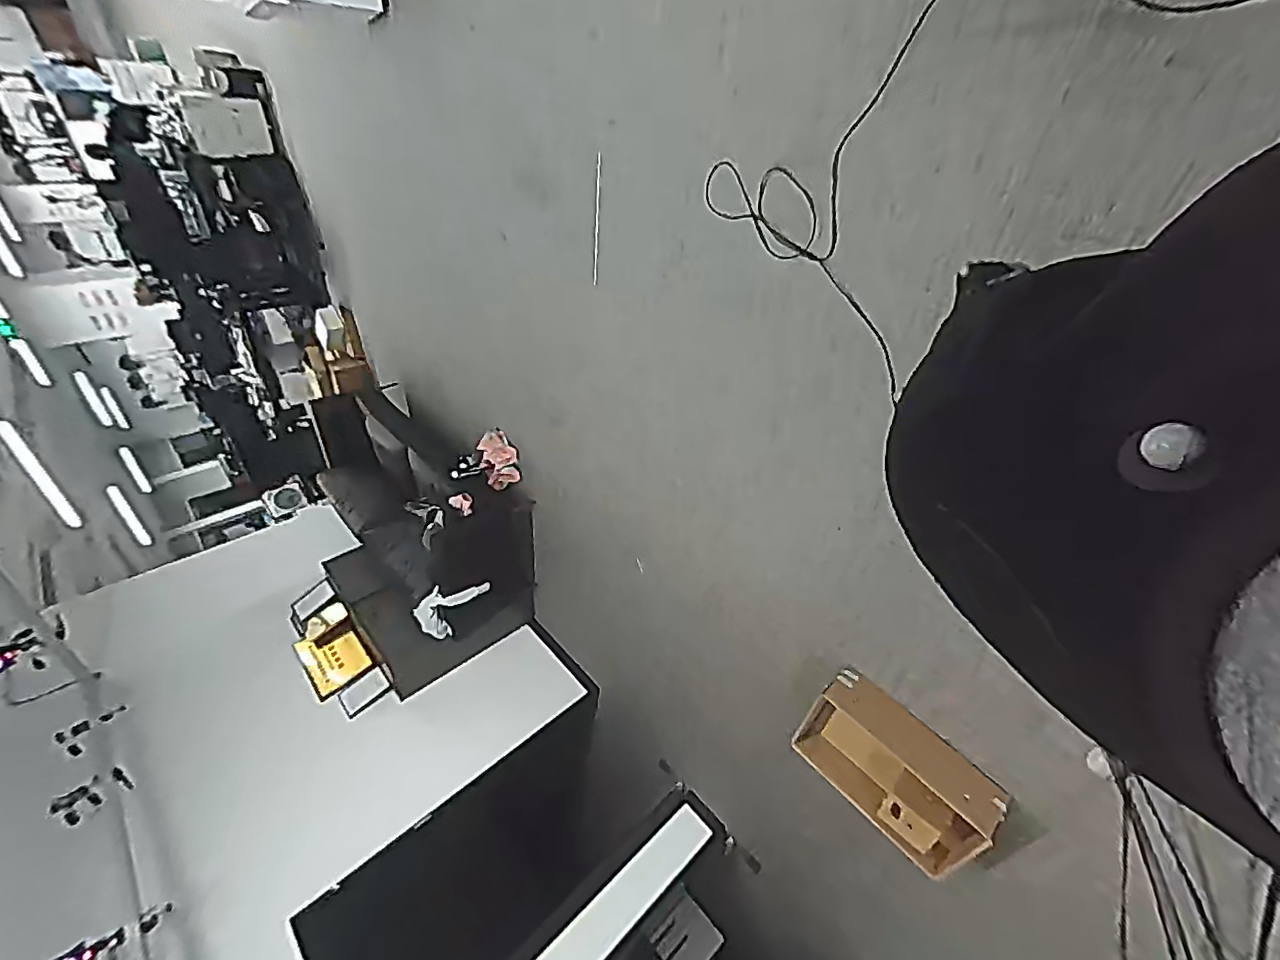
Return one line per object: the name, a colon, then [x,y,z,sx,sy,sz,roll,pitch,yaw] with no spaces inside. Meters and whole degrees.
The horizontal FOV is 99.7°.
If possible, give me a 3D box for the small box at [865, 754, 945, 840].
small box: [0.927,1.097,1.891,0.179,0.176,0.168,32,134,31]
